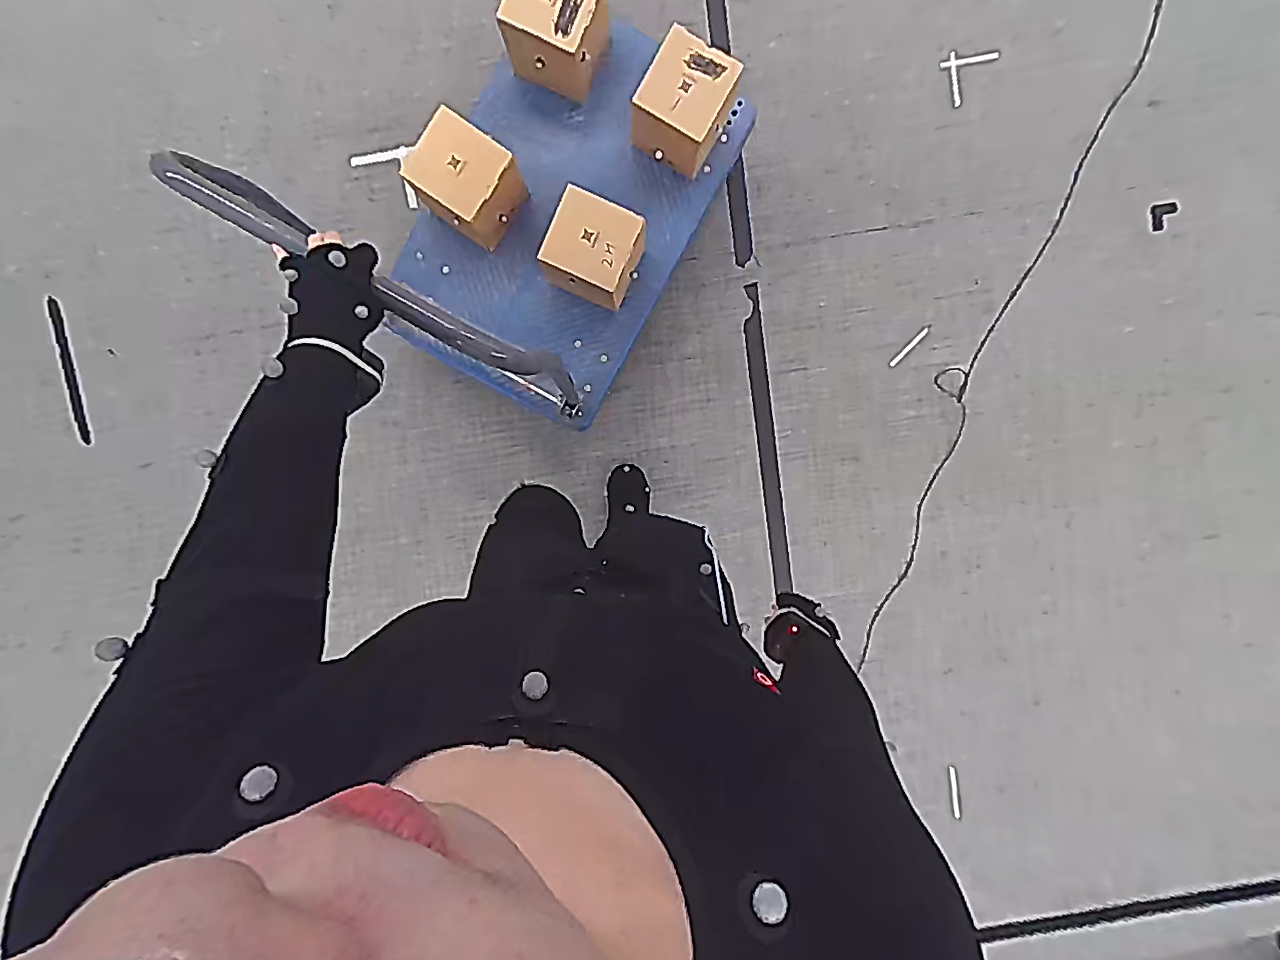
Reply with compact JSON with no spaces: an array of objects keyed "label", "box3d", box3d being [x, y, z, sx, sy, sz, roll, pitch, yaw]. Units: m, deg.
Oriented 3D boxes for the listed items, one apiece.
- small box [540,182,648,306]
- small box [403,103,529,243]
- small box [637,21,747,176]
[{"label":"small box","box3d":[-0.095,-0.502,1.180,0.179,0.176,0.168,25,94,-2]},{"label":"small box","box3d":[-0.365,-0.648,1.168,0.179,0.176,0.168,34,93,-4]},{"label":"small box","box3d":[0.102,-0.803,1.159,0.168,0.176,0.179,30,95,-2]}]
